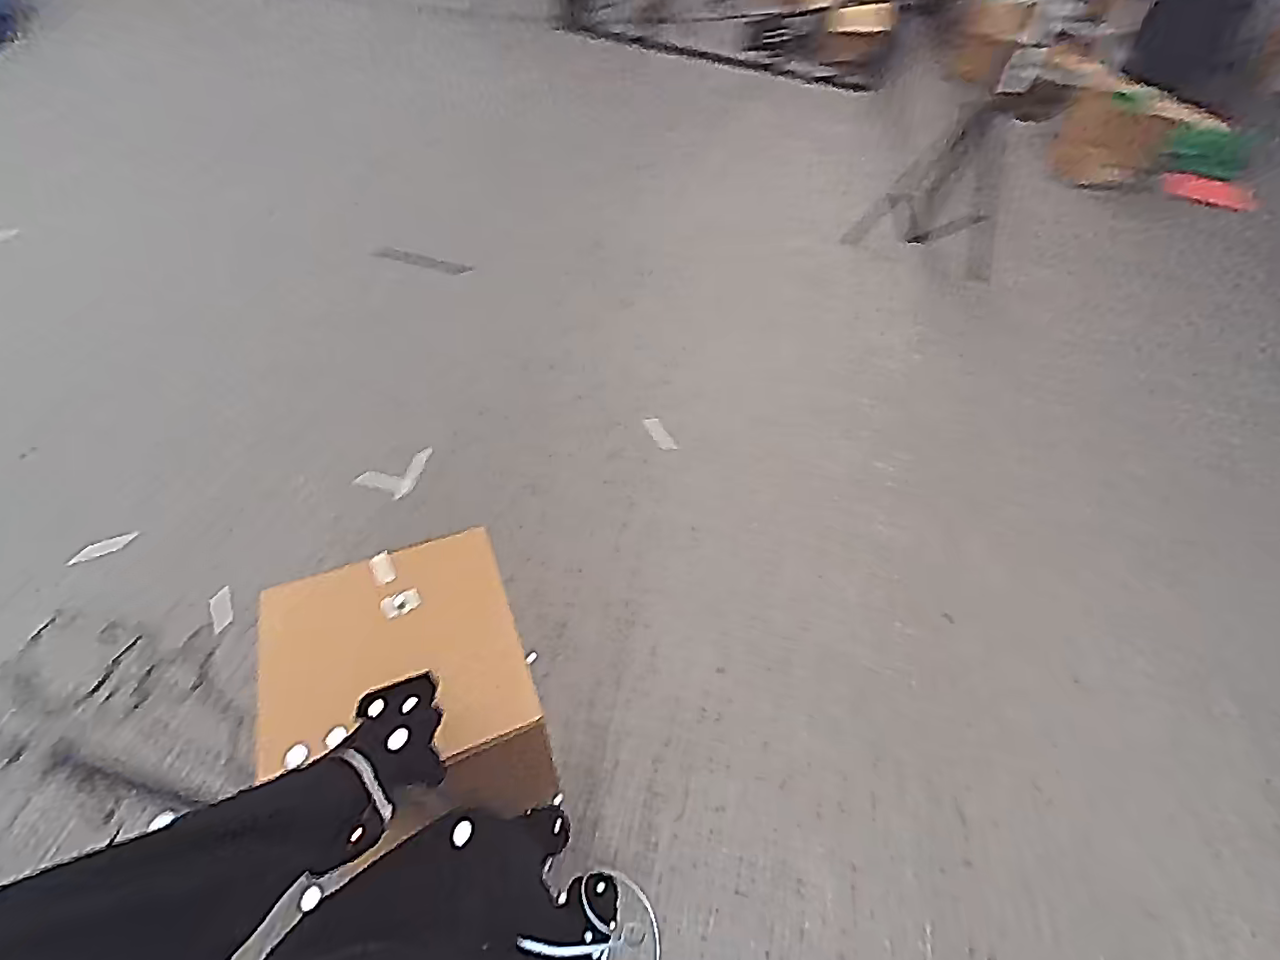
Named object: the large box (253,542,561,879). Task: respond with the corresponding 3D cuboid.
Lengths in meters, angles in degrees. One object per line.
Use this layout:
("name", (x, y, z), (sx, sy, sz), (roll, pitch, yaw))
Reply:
("large box", (-0.336, 0.364, 0.847), (0.320, 0.408, 0.320), (-18, 53, -17))
